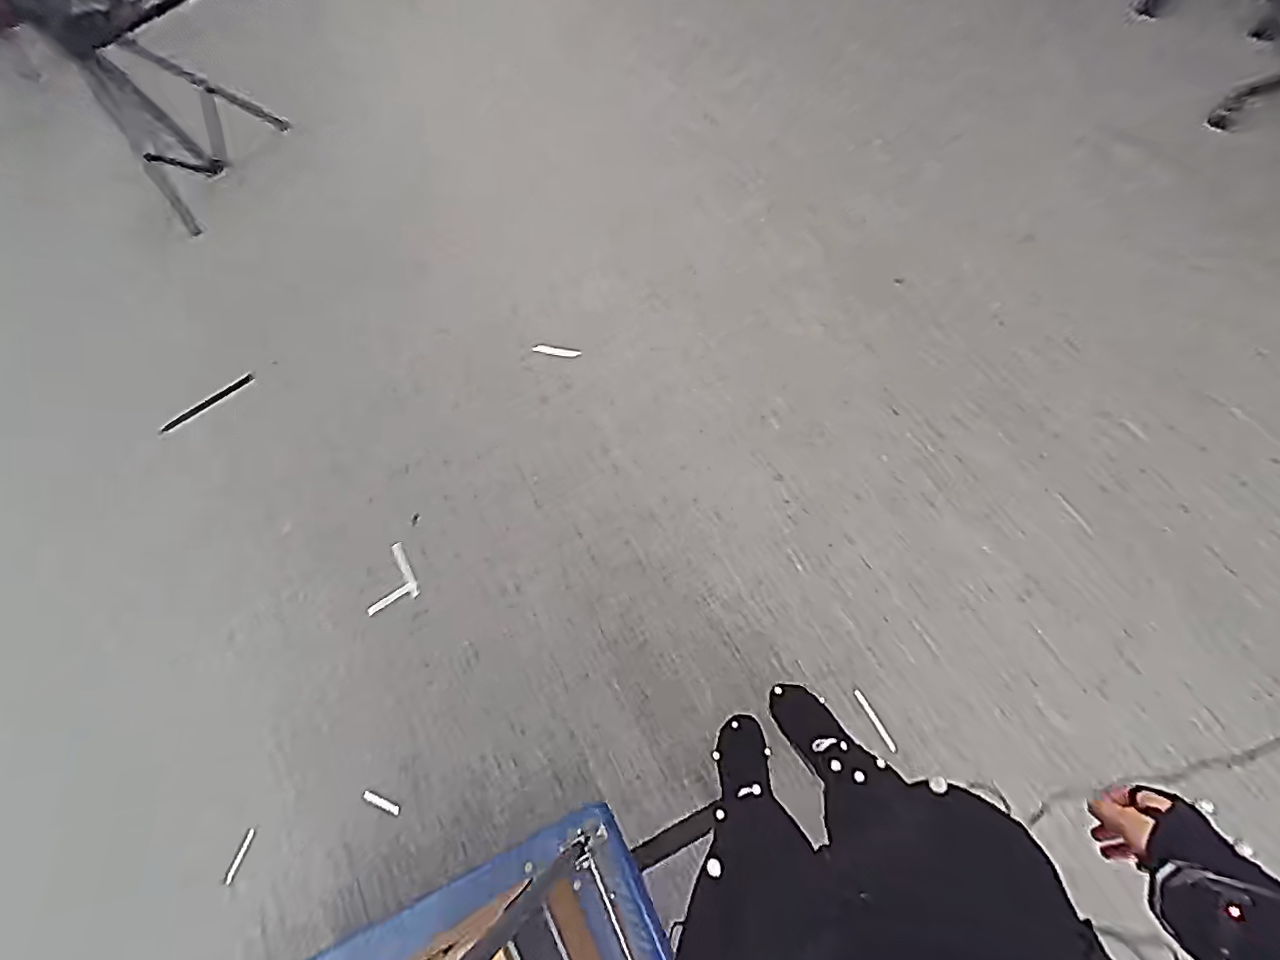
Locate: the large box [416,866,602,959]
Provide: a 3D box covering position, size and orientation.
[{"bbox_3d":[-0.215,0.958,0.877,0.320,0.320,0.408,-32,68,-2],"label":"large box"}]
